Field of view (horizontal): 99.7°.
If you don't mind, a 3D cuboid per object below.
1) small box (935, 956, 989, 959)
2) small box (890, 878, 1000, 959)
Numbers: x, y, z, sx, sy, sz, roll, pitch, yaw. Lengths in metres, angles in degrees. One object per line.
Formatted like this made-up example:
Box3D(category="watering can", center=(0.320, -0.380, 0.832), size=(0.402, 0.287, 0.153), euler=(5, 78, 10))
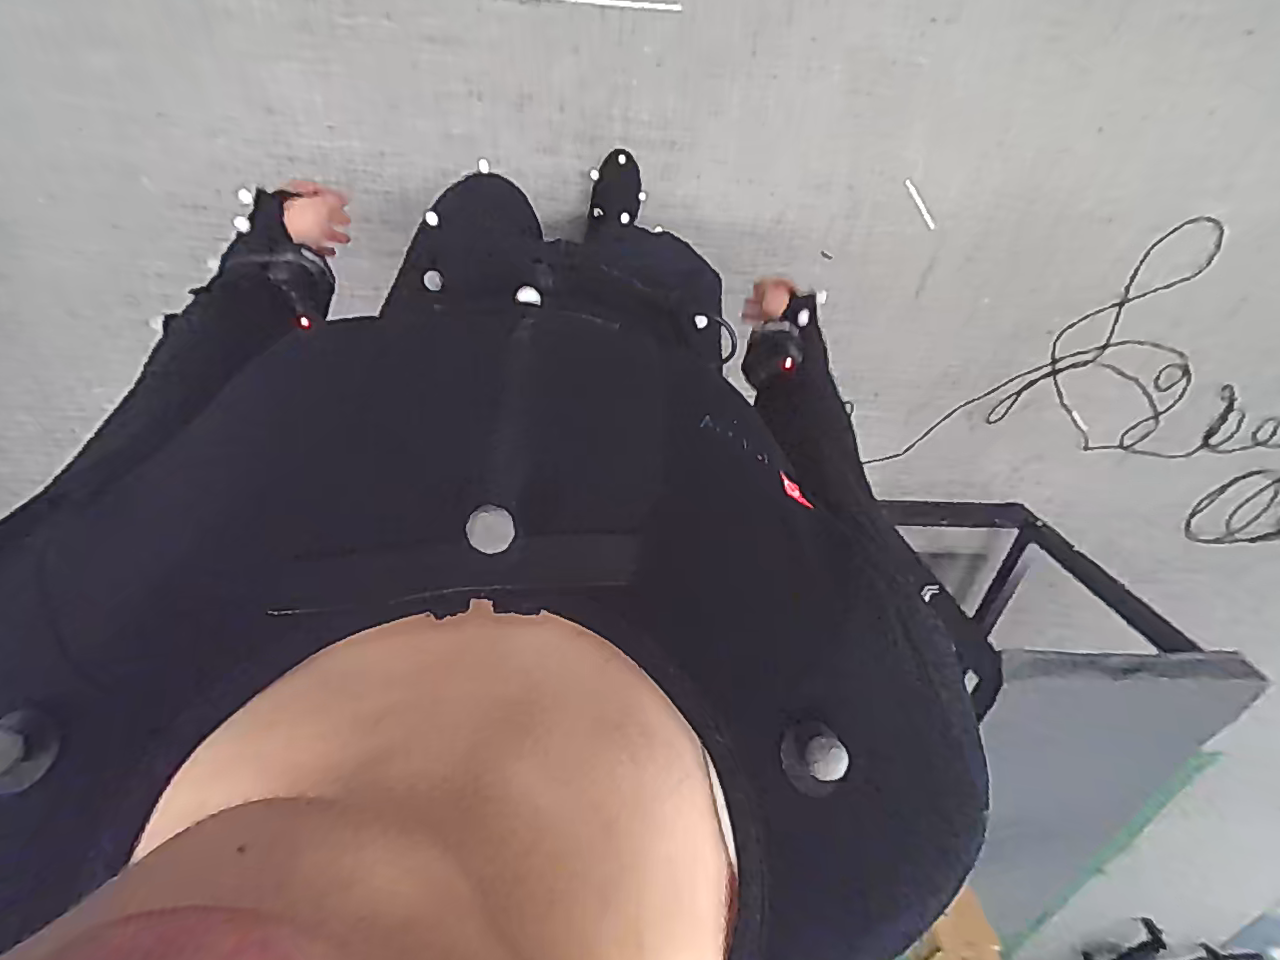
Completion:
Box3D(category="small box", center=(0.803, 1.295, 1.319), size=(0.168, 0.176, 0.179), euler=(8, 119, -10))
Box3D(category="small box", center=(0.808, 1.203, 1.456), size=(0.168, 0.176, 0.179), euler=(5, 120, -8))
